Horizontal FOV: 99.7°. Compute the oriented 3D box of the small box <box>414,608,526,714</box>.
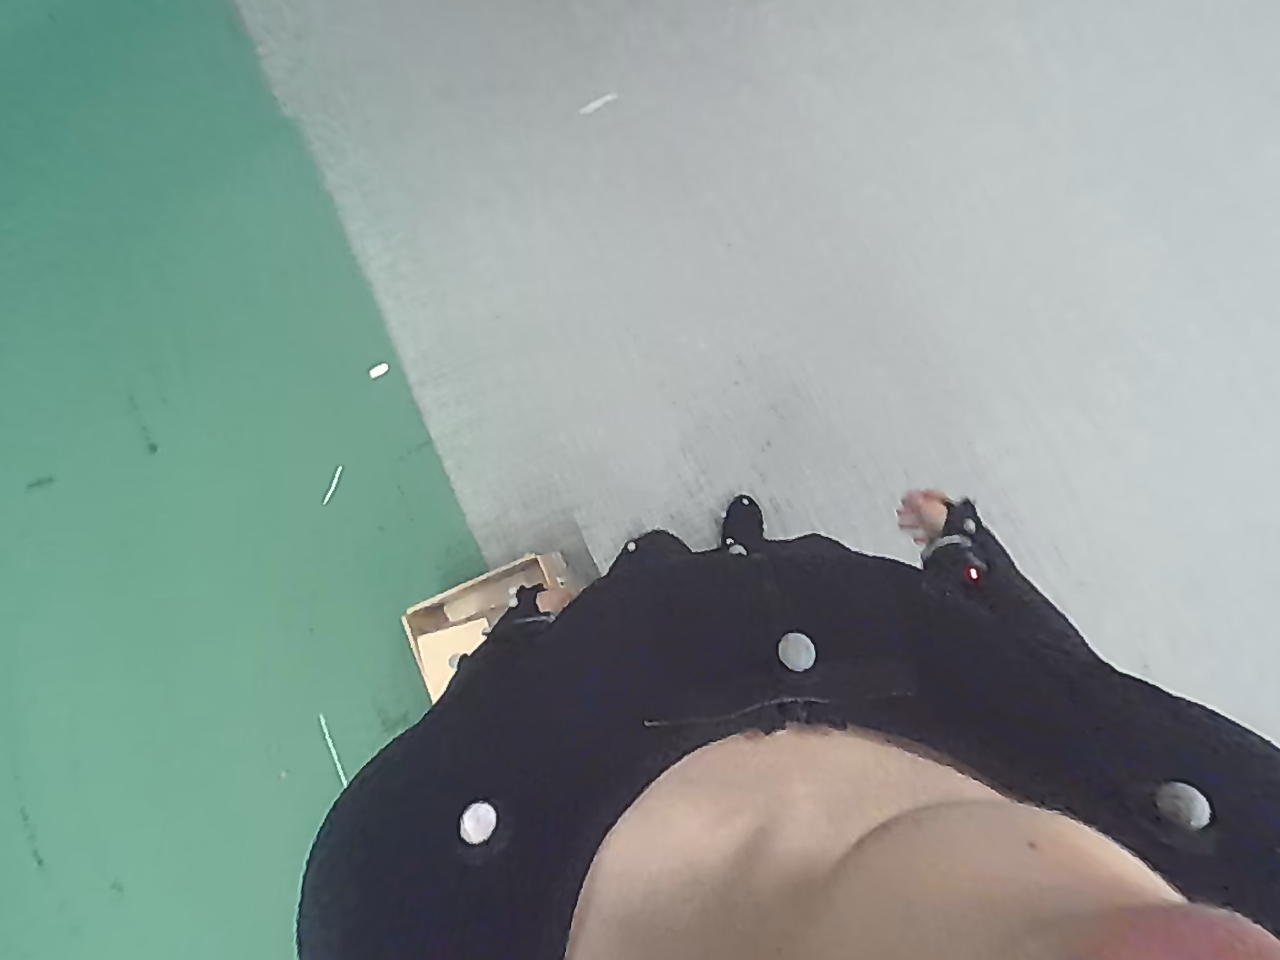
[{"bbox_3d":[-0.377,0.398,1.226,0.168,0.176,0.179,-17,85,4],"label":"small box"}]

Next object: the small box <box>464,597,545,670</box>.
[{"bbox_3d":[-0.366,0.412,1.390,0.179,0.176,0.168,-18,85,3],"label":"small box"}]
